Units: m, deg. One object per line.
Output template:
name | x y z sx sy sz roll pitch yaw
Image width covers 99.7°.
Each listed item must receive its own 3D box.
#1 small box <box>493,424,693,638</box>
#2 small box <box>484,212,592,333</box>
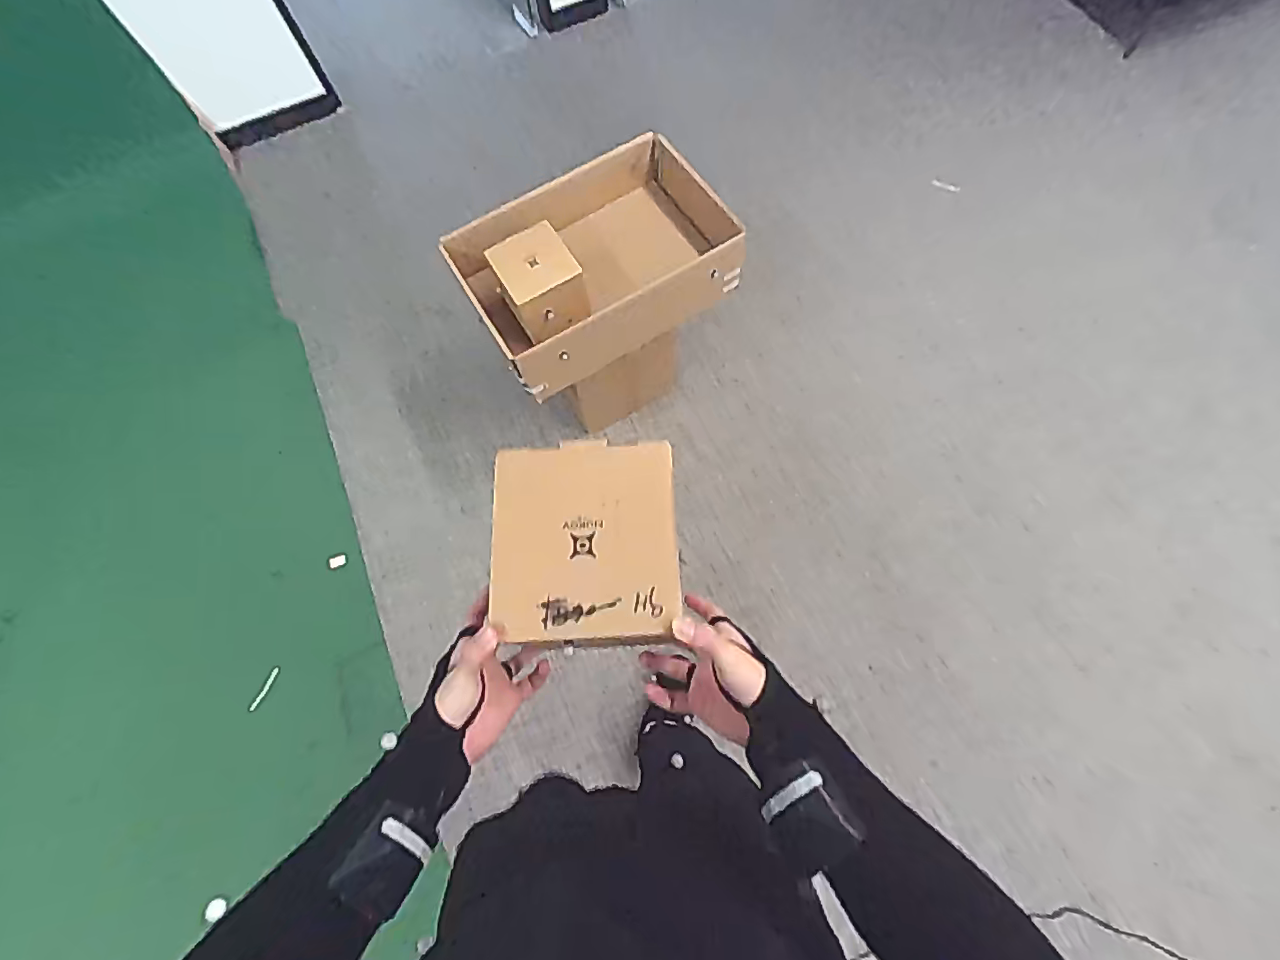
small box | -0.037 0.060 0.542 0.168 0.176 0.179 -3 71 2
small box | -0.227 -0.467 1.251 0.168 0.176 0.179 -31 72 -7
